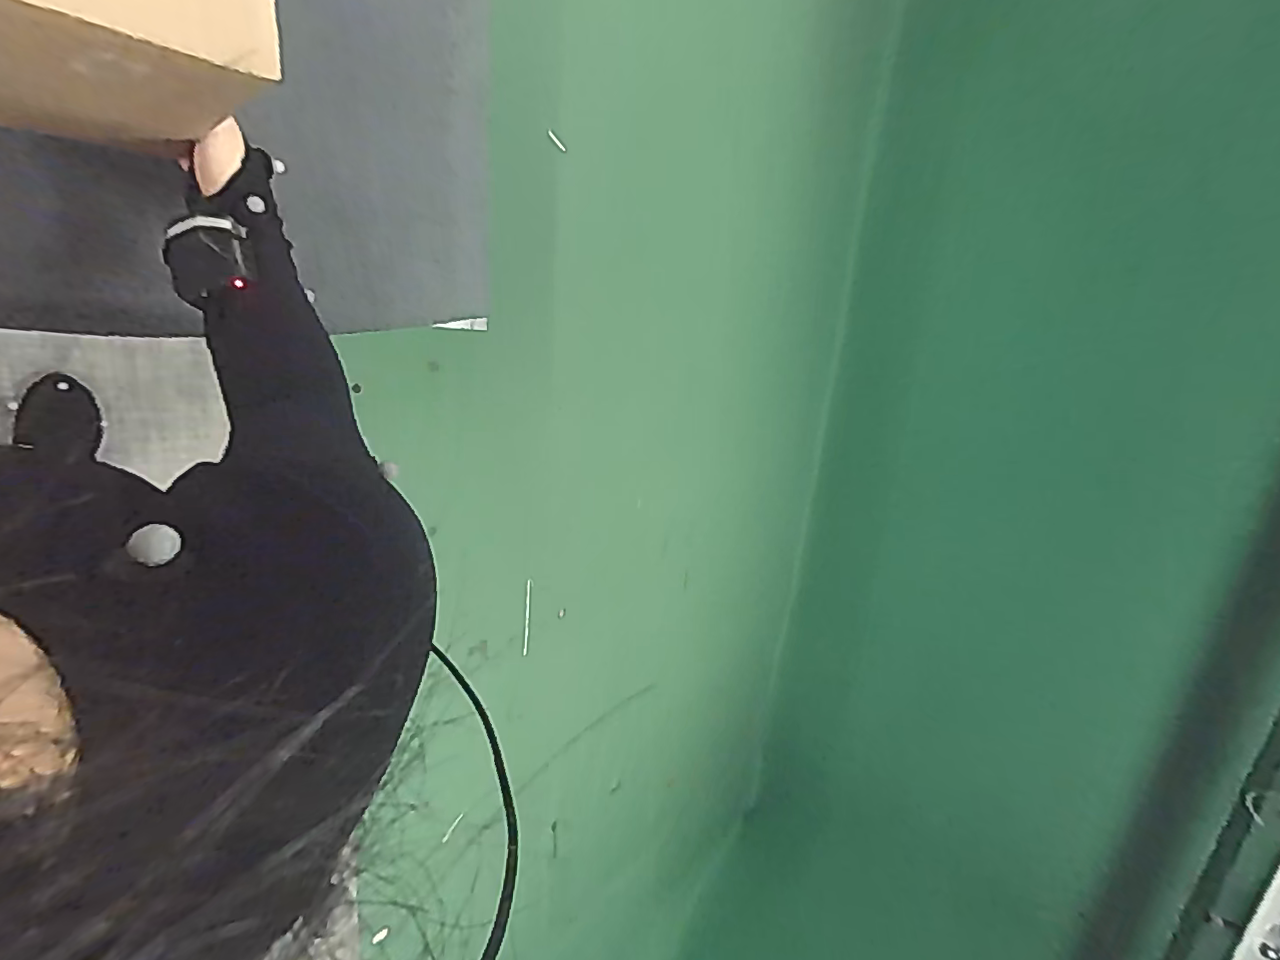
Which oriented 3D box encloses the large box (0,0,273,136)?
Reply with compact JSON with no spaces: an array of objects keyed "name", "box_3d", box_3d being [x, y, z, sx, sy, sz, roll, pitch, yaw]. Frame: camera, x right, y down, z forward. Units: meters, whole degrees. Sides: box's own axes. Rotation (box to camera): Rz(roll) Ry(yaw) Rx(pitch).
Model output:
[{"name":"large box","box_3d":[-0.464,-0.404,0.241,0.408,0.320,0.320,-15,115,-48]}]
